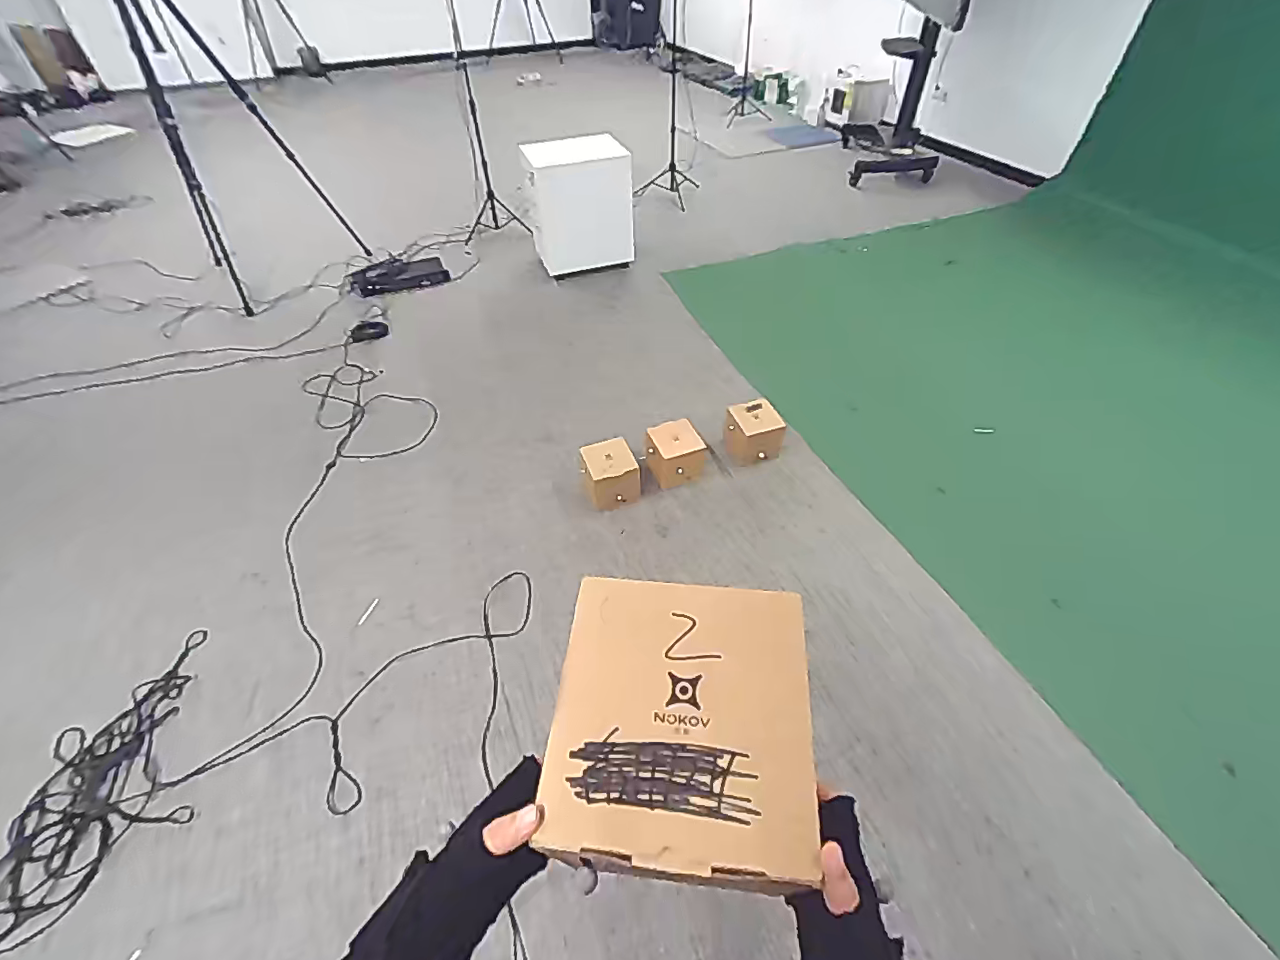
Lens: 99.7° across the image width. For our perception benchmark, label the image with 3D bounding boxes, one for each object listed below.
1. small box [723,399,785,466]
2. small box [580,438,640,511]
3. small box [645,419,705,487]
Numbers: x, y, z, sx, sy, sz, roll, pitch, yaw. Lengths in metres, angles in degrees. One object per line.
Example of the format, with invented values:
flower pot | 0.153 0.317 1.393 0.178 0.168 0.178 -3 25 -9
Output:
small box | 0.431 -0.182 2.084 0.168 0.176 0.179 -15 49 -12
small box | -0.107 -0.019 1.939 0.168 0.176 0.179 -17 49 -14
small box | 0.128 -0.092 2.007 0.168 0.176 0.179 -18 48 -15
